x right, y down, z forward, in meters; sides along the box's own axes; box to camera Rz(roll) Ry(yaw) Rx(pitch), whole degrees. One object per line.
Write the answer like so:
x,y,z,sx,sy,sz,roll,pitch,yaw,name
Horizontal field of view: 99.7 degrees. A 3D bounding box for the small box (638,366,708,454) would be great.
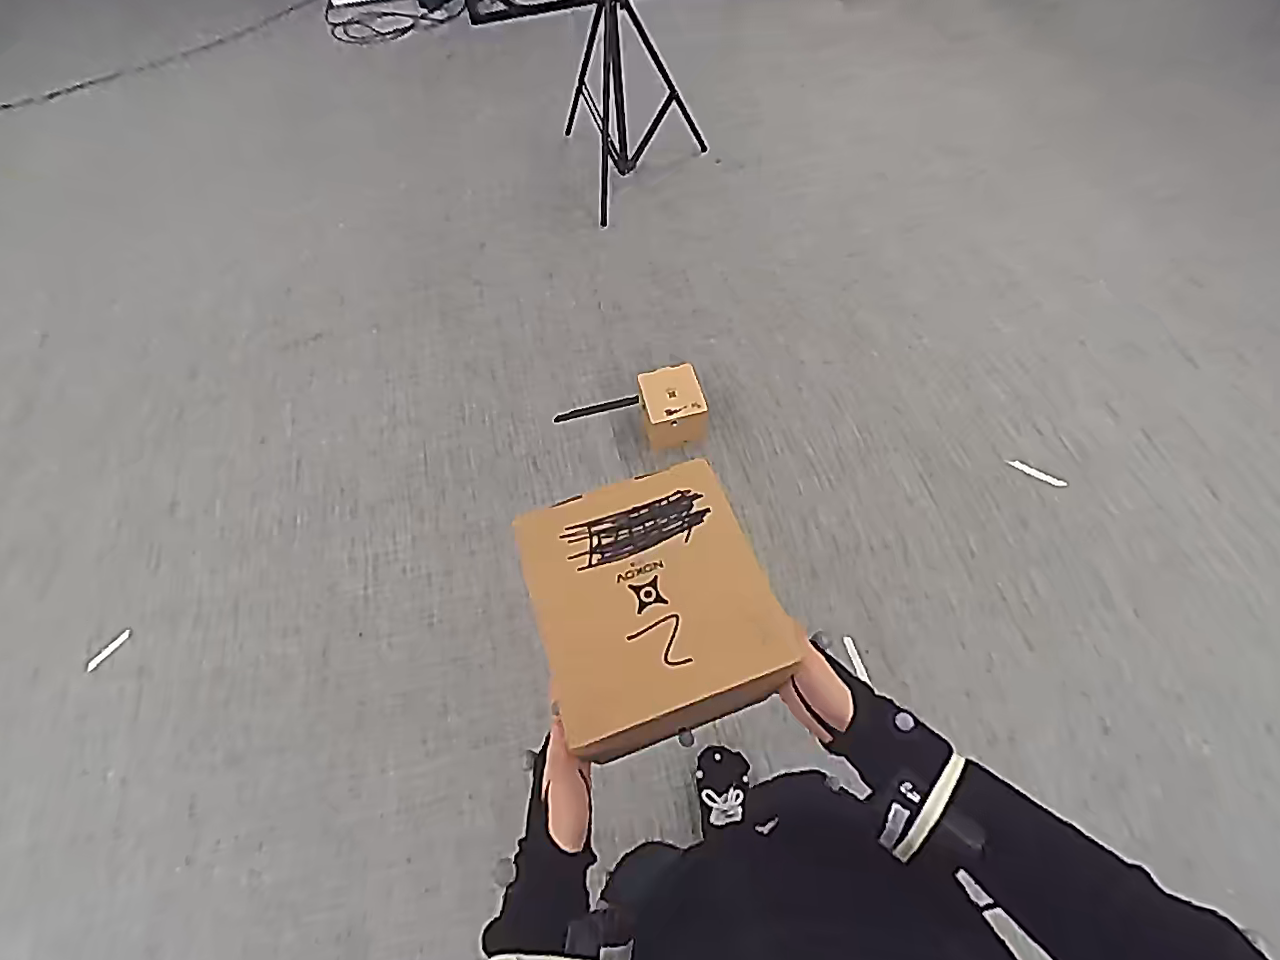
0.095,-0.205,1.603,0.168,0.176,0.179,-14,63,-4,small box
